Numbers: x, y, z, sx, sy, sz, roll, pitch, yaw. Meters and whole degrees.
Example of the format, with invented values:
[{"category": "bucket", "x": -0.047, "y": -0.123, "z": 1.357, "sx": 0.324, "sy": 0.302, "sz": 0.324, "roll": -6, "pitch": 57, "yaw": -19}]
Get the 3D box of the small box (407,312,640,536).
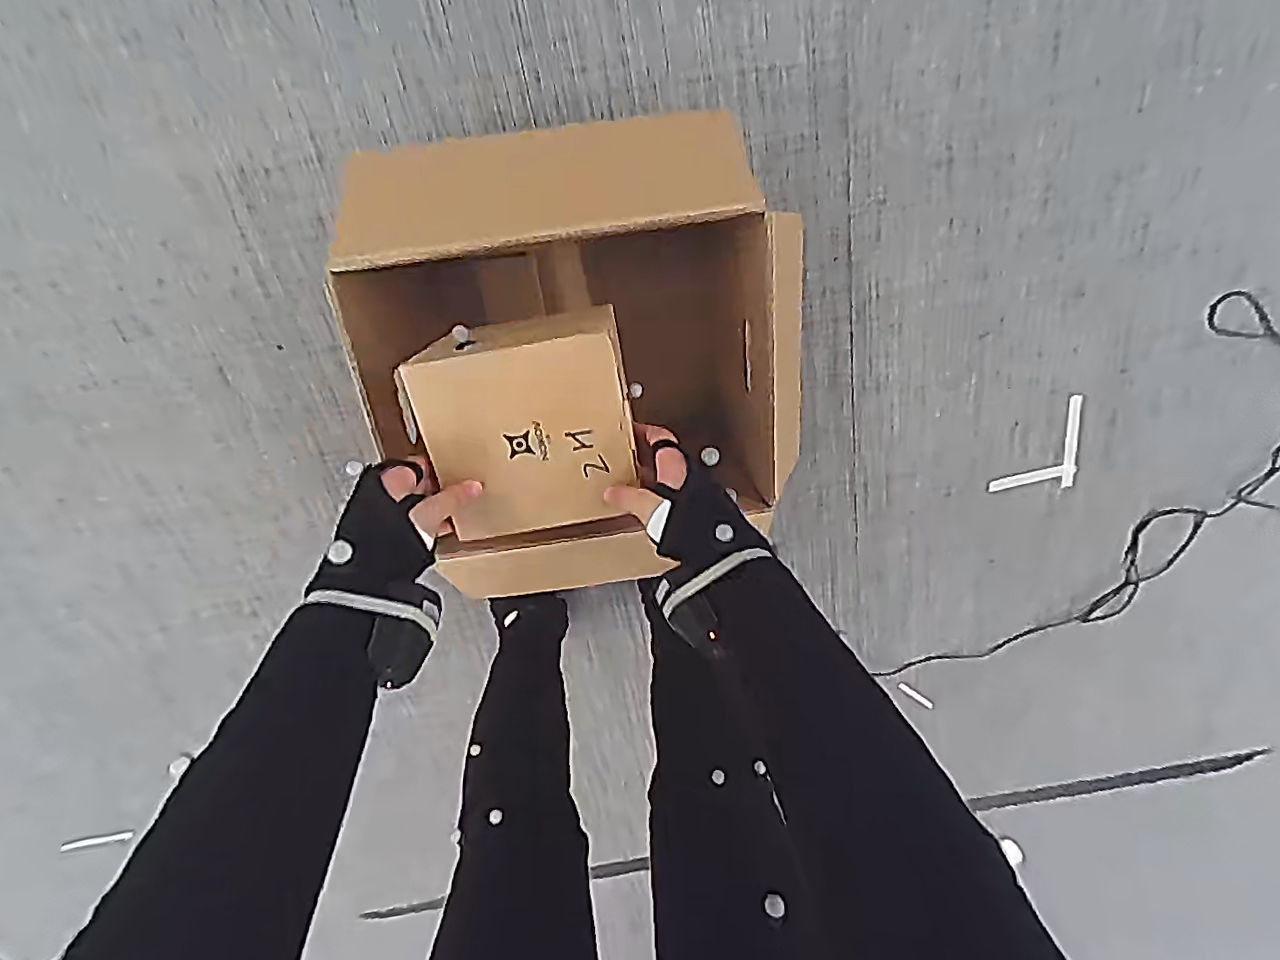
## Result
[{"category": "small box", "x": -0.101, "y": -0.066, "z": 0.548, "sx": 0.179, "sy": 0.176, "sz": 0.168, "roll": -10, "pitch": 115, "yaw": 0}]
